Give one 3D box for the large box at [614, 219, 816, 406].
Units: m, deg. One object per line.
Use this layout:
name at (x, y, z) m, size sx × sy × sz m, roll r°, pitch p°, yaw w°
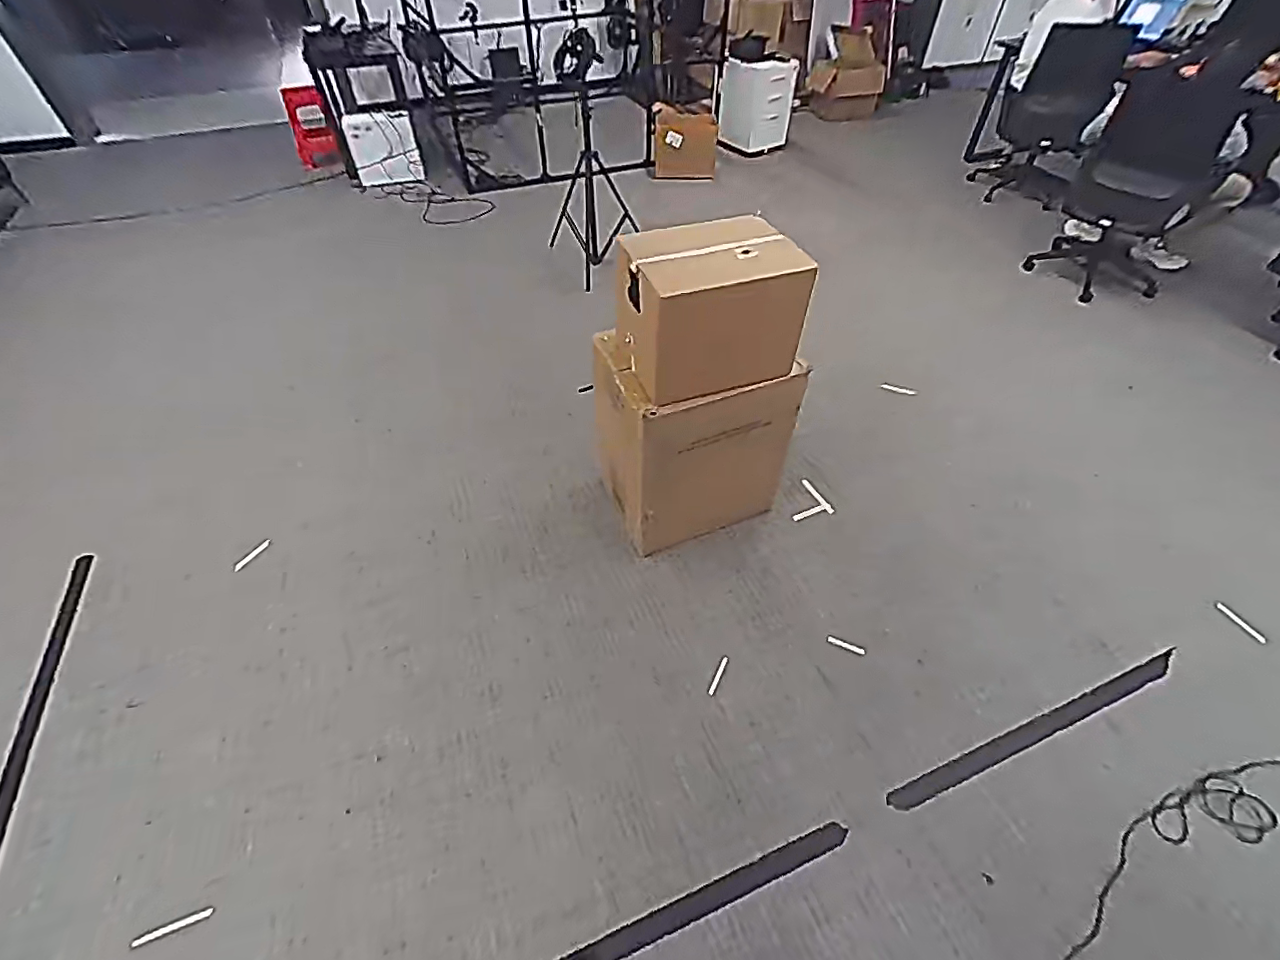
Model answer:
large box at (0.171, -0.439, 1.406) m, size 0.408 × 0.320 × 0.320 m, roll -15°, pitch 51°, yaw -14°
